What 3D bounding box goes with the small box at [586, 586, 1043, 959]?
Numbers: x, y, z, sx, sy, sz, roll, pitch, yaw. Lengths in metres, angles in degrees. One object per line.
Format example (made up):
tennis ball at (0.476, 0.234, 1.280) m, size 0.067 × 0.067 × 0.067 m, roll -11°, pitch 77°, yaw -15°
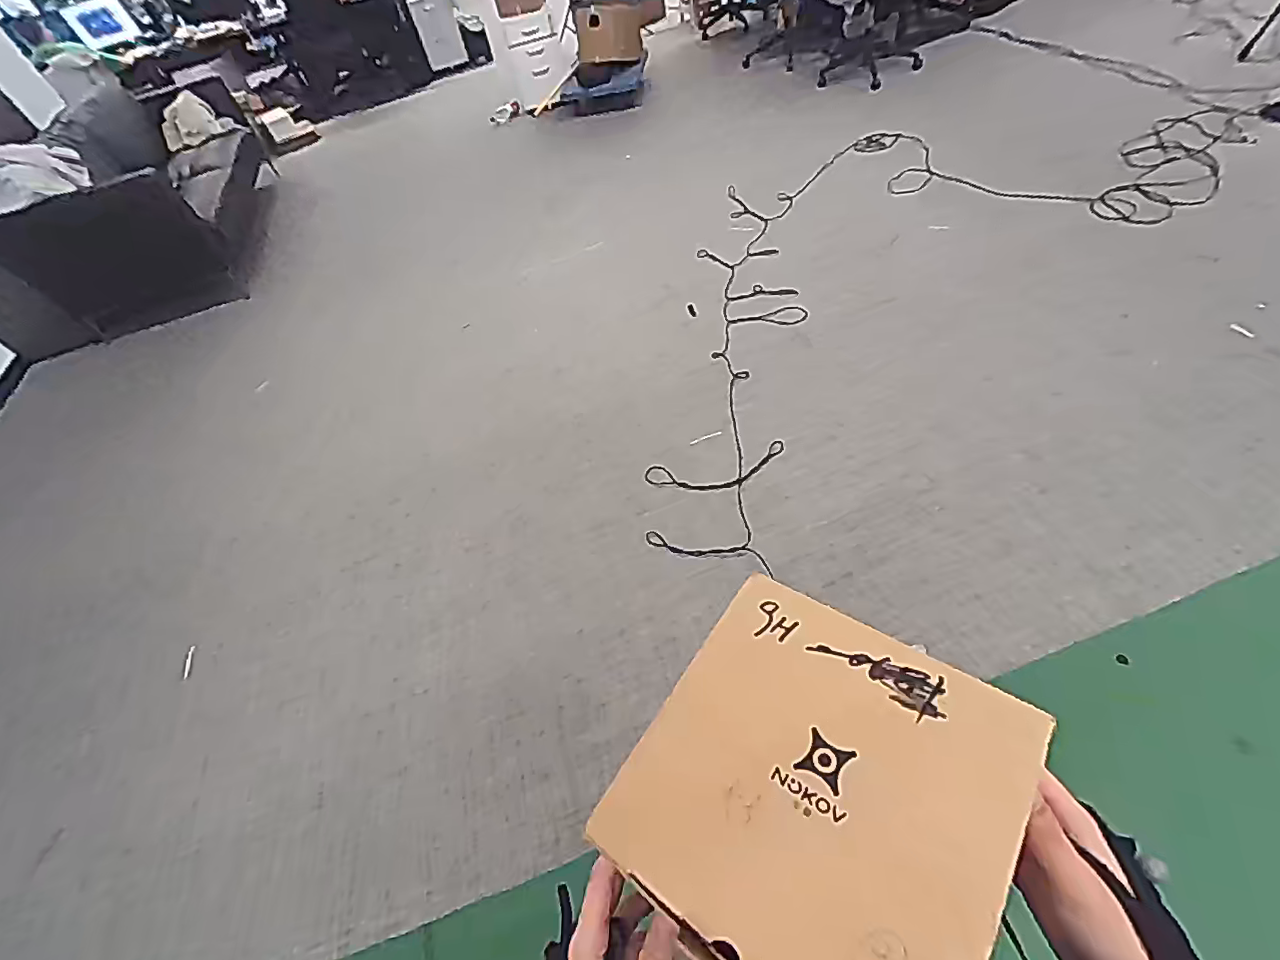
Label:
small box at (0.100, 0.205, 0.327) m, size 0.168 × 0.176 × 0.179 m, roll 24°, pitch 59°, yaw 31°
